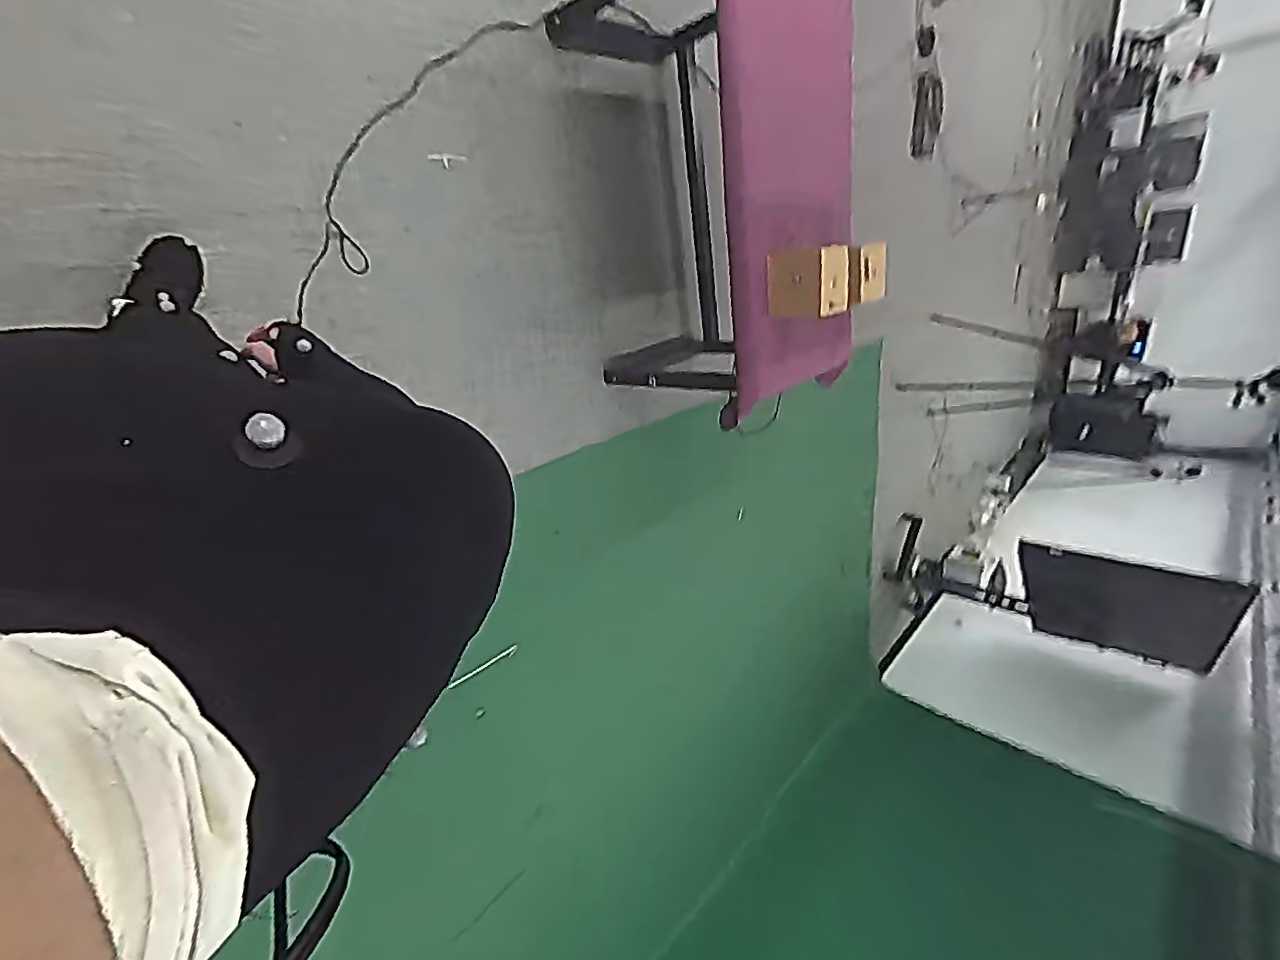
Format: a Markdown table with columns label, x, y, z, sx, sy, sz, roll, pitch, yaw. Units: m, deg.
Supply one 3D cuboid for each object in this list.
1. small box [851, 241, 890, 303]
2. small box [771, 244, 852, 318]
| label | x | y | z | sx | sy | sz | roll | pitch | yaw |
| --- | --- | --- | --- | --- | --- | --- | --- | --- | --- |
| small box | 0.665 | -0.648 | 1.700 | 0.179 | 0.176 | 0.168 | -26 | 118 | -39 |
| small box | 0.488 | -0.565 | 1.542 | 0.168 | 0.176 | 0.179 | -24 | 116 | -40 |
